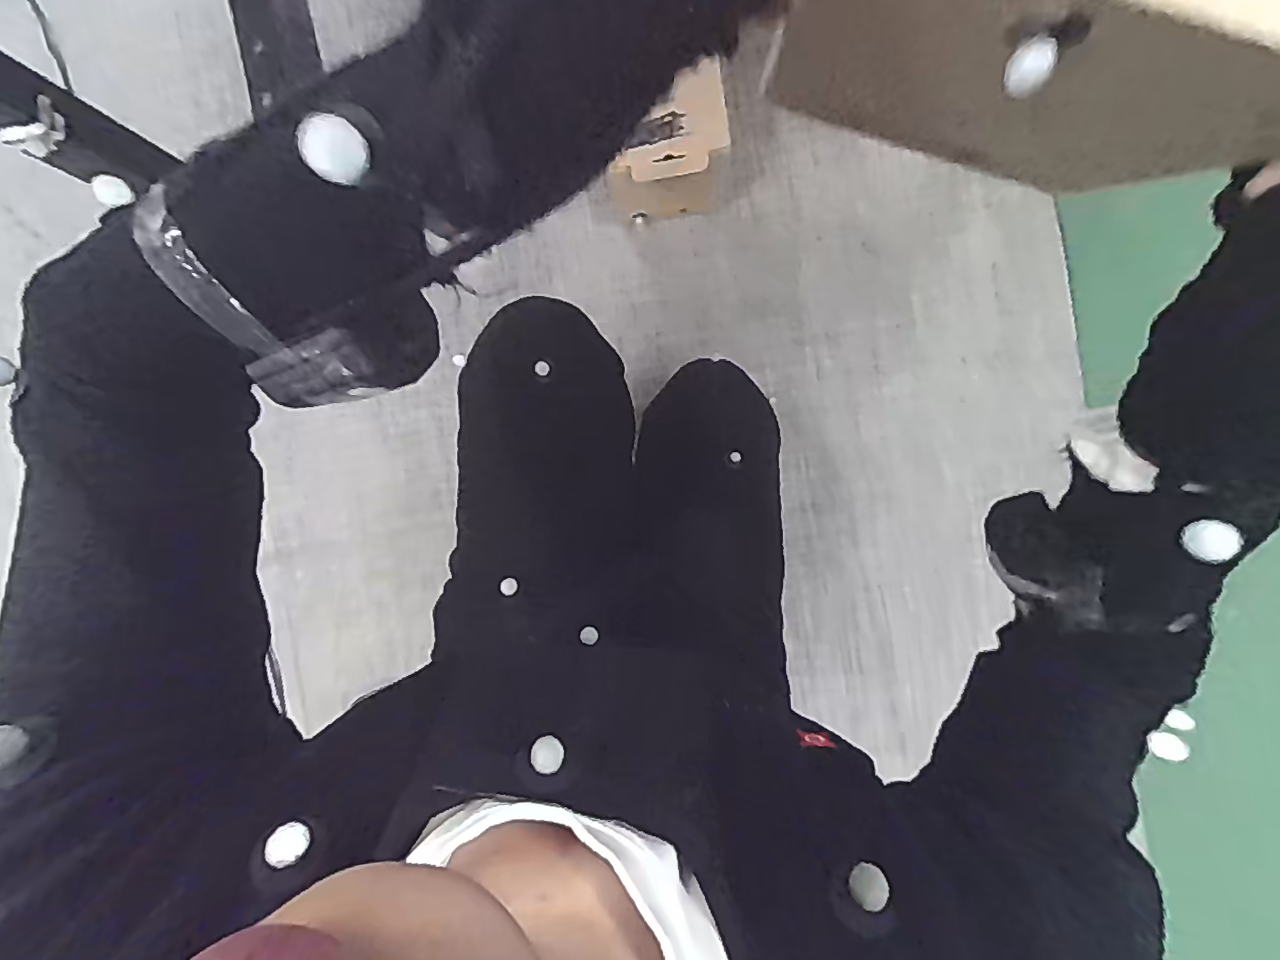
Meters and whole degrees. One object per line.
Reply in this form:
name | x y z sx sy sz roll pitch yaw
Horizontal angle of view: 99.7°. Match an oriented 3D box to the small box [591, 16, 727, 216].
small box | 0.032 -0.508 0.787 0.168 0.176 0.179 -8 91 4
